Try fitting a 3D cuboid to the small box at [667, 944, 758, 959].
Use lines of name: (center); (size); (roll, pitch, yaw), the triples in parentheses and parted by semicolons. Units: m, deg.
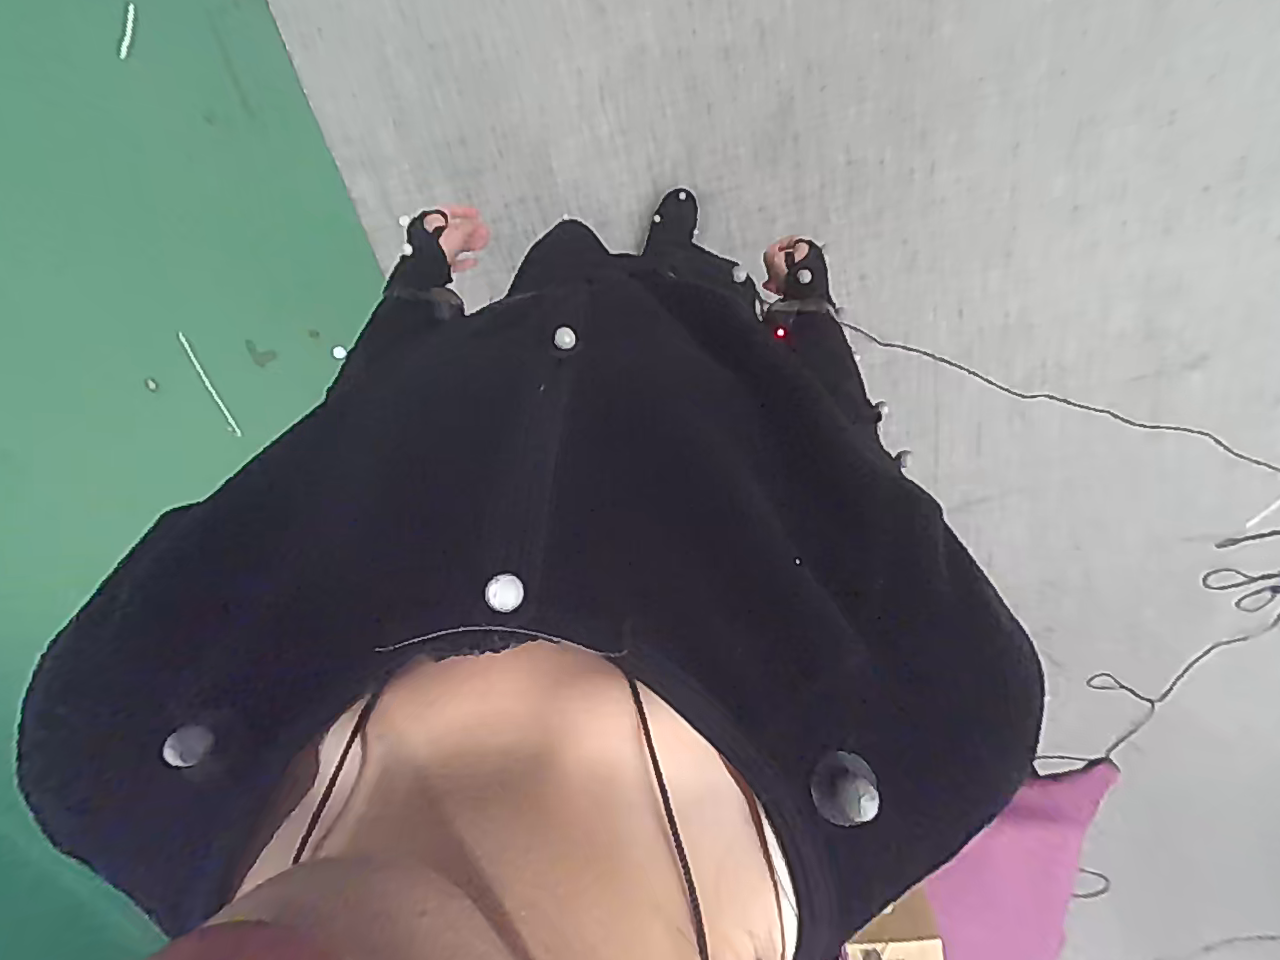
small box: (0.136, 0.996, 1.000); (0.179, 0.176, 0.168); (-3, 118, 5)
